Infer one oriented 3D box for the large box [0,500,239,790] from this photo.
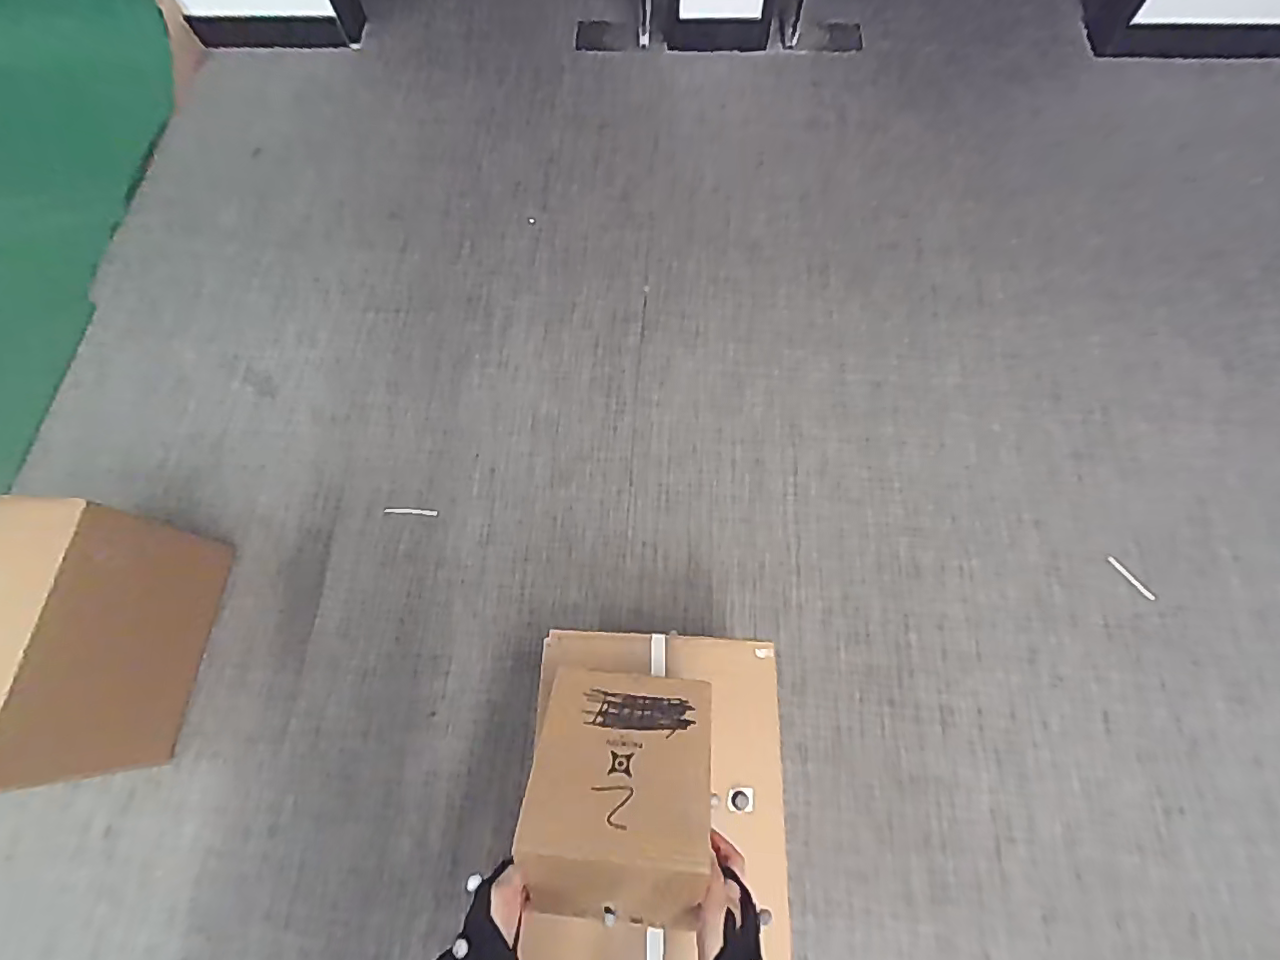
[{"bbox_3d":[-0.979,0.271,0.908,0.320,0.320,0.408,1,69,3],"label":"large box"}]
